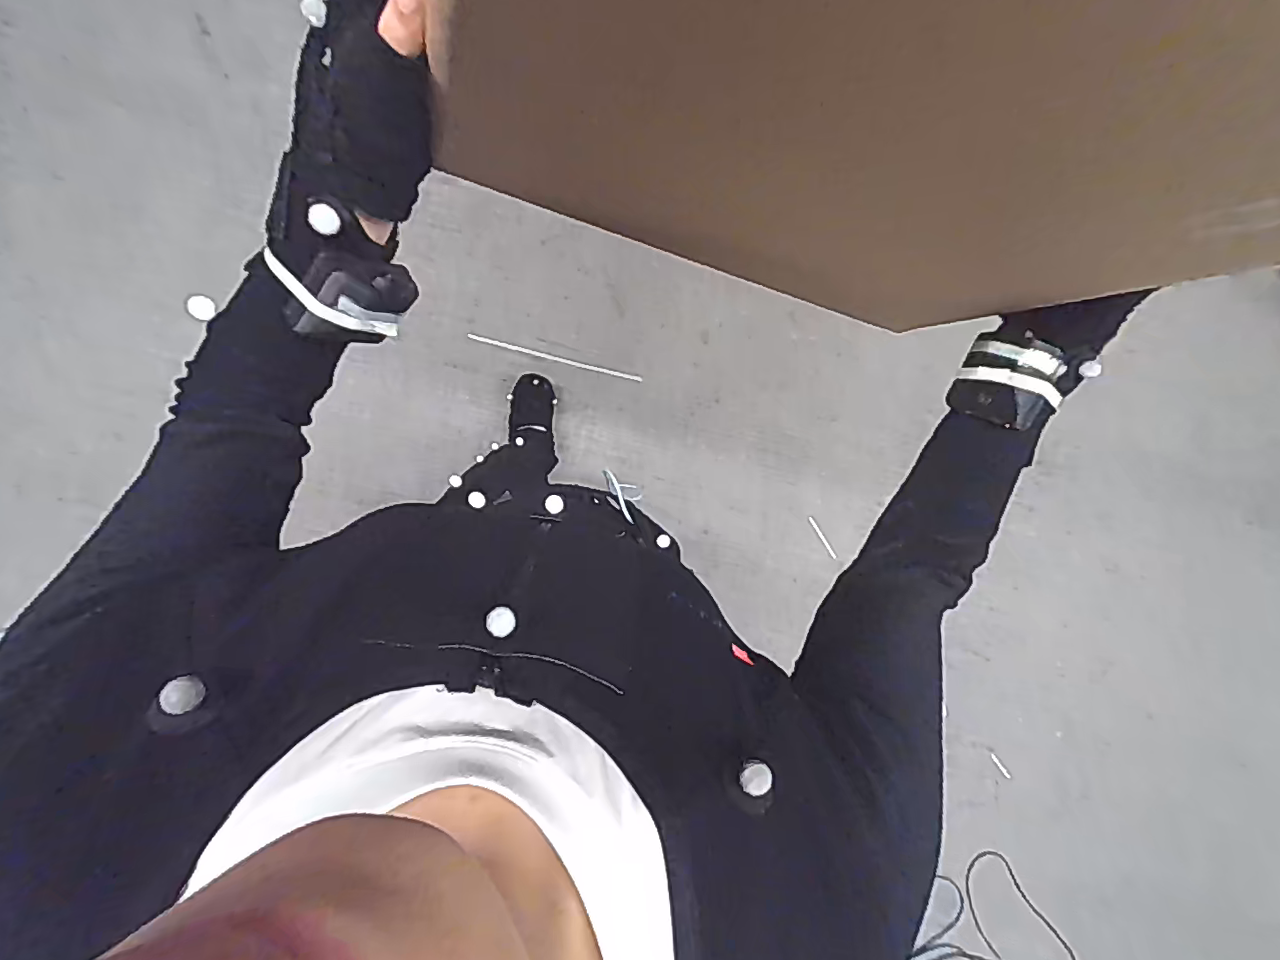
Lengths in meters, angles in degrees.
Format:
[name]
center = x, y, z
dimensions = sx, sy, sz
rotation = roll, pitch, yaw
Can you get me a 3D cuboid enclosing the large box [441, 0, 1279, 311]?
[large box]
center = 0.138, -0.307, 0.266
dimensions = 0.408, 0.320, 0.320
rotation = 9, 94, -24
